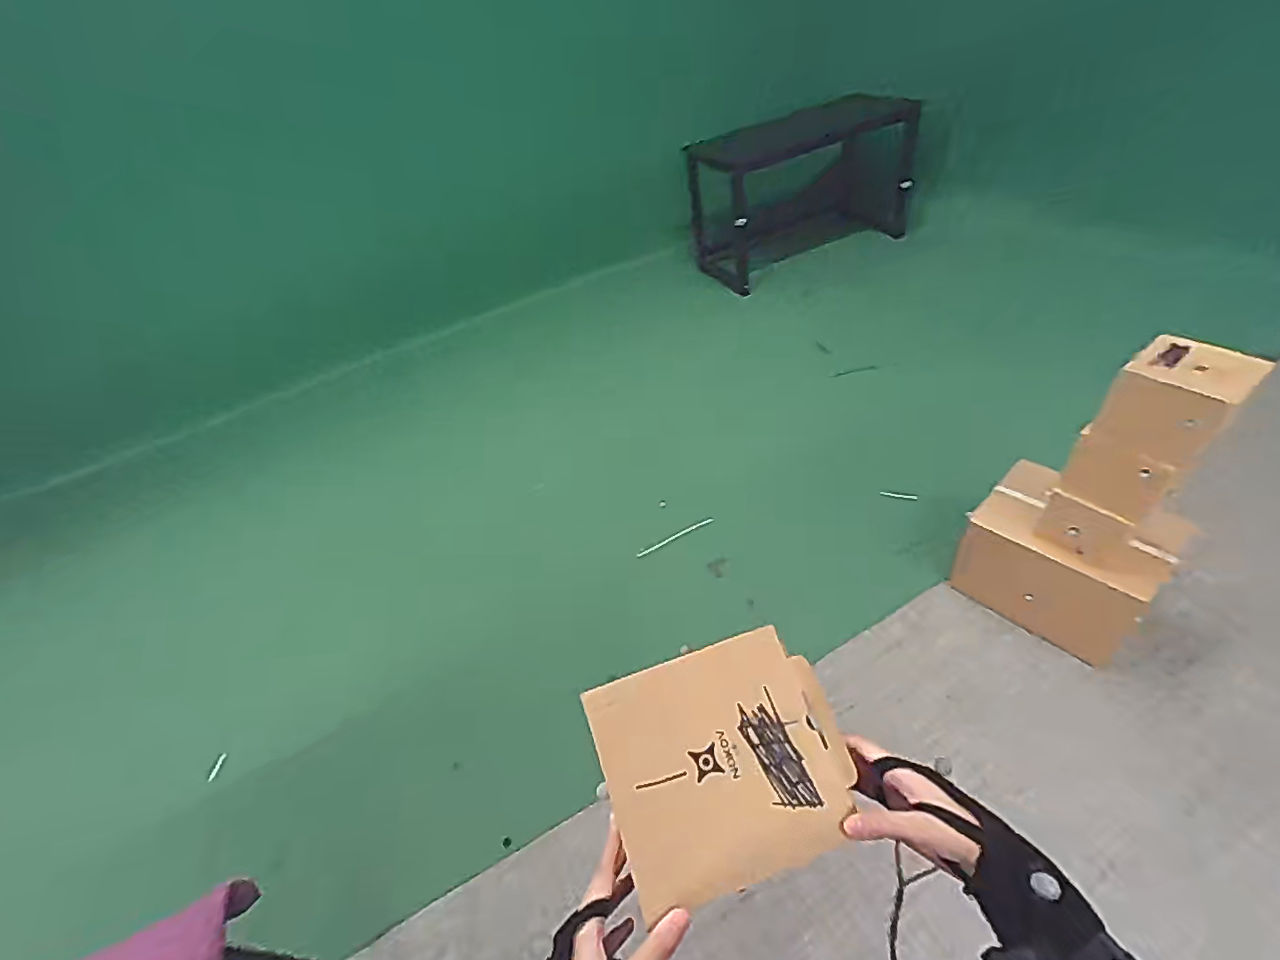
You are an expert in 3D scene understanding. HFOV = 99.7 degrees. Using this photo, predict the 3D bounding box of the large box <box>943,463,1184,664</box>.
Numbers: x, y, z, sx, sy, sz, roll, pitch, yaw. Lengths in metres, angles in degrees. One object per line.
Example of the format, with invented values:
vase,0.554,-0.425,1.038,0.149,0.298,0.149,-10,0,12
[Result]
large box,1.144,0.220,1.504,0.320,0.320,0.408,-36,46,-24

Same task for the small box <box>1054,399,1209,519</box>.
small box,1.075,-0.045,1.199,0.168,0.176,0.179,-31,46,-18

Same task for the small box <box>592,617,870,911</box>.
small box,0.064,0.244,0.491,0.179,0.176,0.168,-16,63,-8

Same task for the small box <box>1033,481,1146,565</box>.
small box,1.095,0.072,1.309,0.179,0.176,0.168,-32,46,-19
